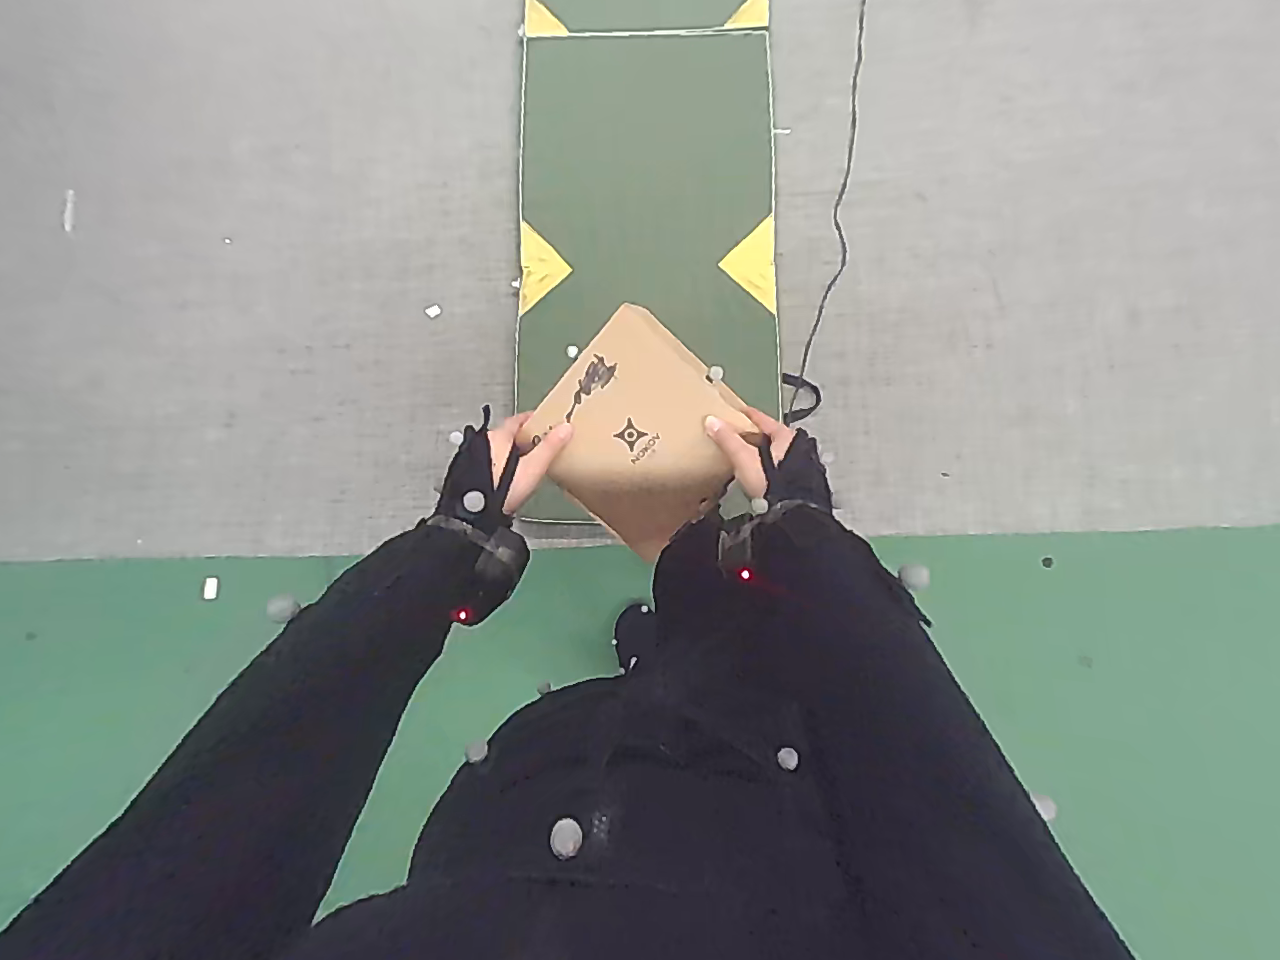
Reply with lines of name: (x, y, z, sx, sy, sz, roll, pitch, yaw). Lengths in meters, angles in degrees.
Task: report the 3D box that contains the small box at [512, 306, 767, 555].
small box: (0.004, -0.061, 0.563, 0.179, 0.176, 0.168, 42, 104, -8)
